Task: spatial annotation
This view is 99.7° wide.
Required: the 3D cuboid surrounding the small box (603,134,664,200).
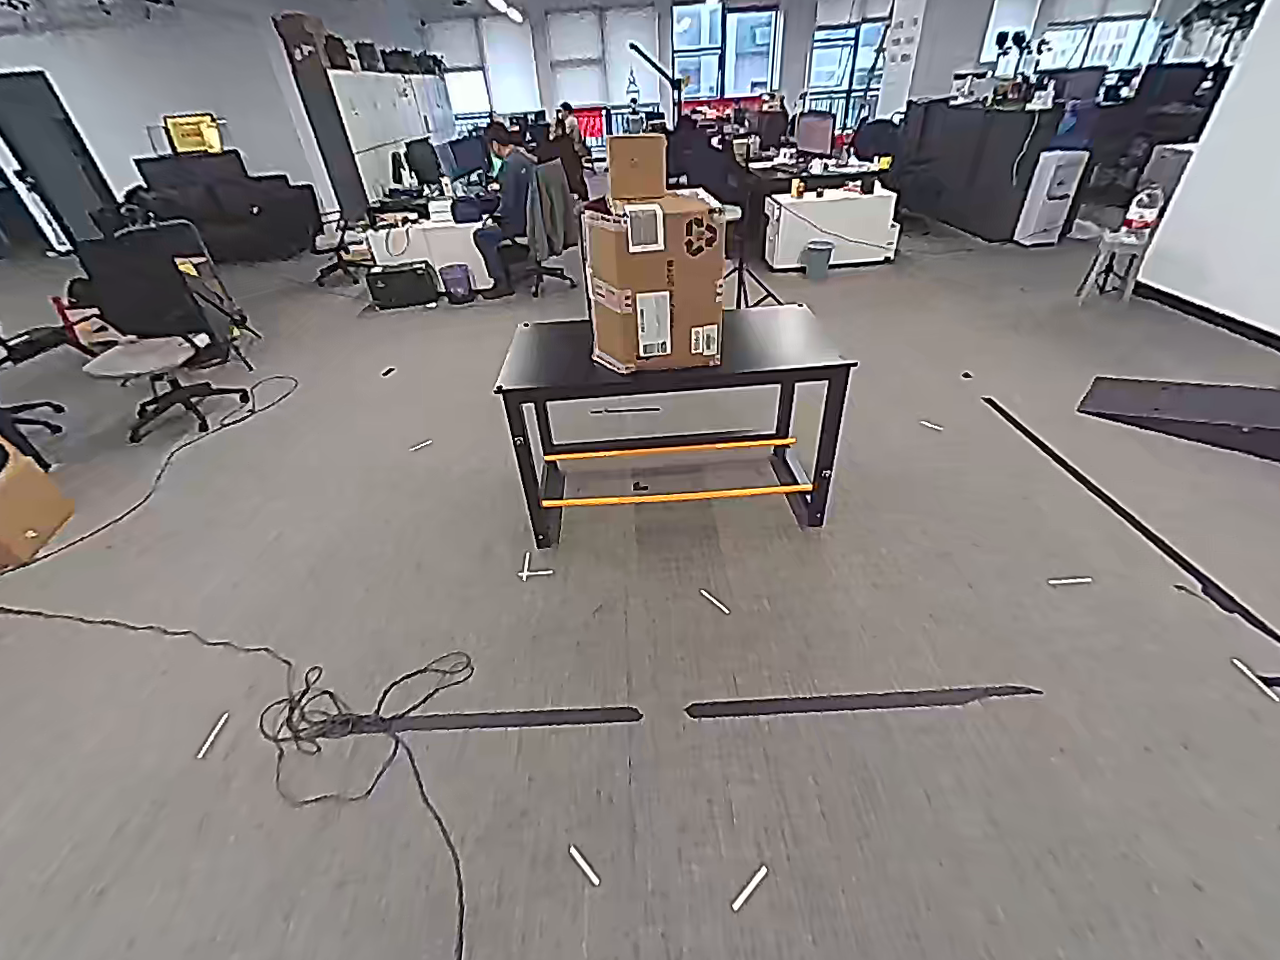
[{"bbox_3d":[-0.022,-0.998,1.722,0.179,0.176,0.168,-6,34,-4],"label":"small box"}]
